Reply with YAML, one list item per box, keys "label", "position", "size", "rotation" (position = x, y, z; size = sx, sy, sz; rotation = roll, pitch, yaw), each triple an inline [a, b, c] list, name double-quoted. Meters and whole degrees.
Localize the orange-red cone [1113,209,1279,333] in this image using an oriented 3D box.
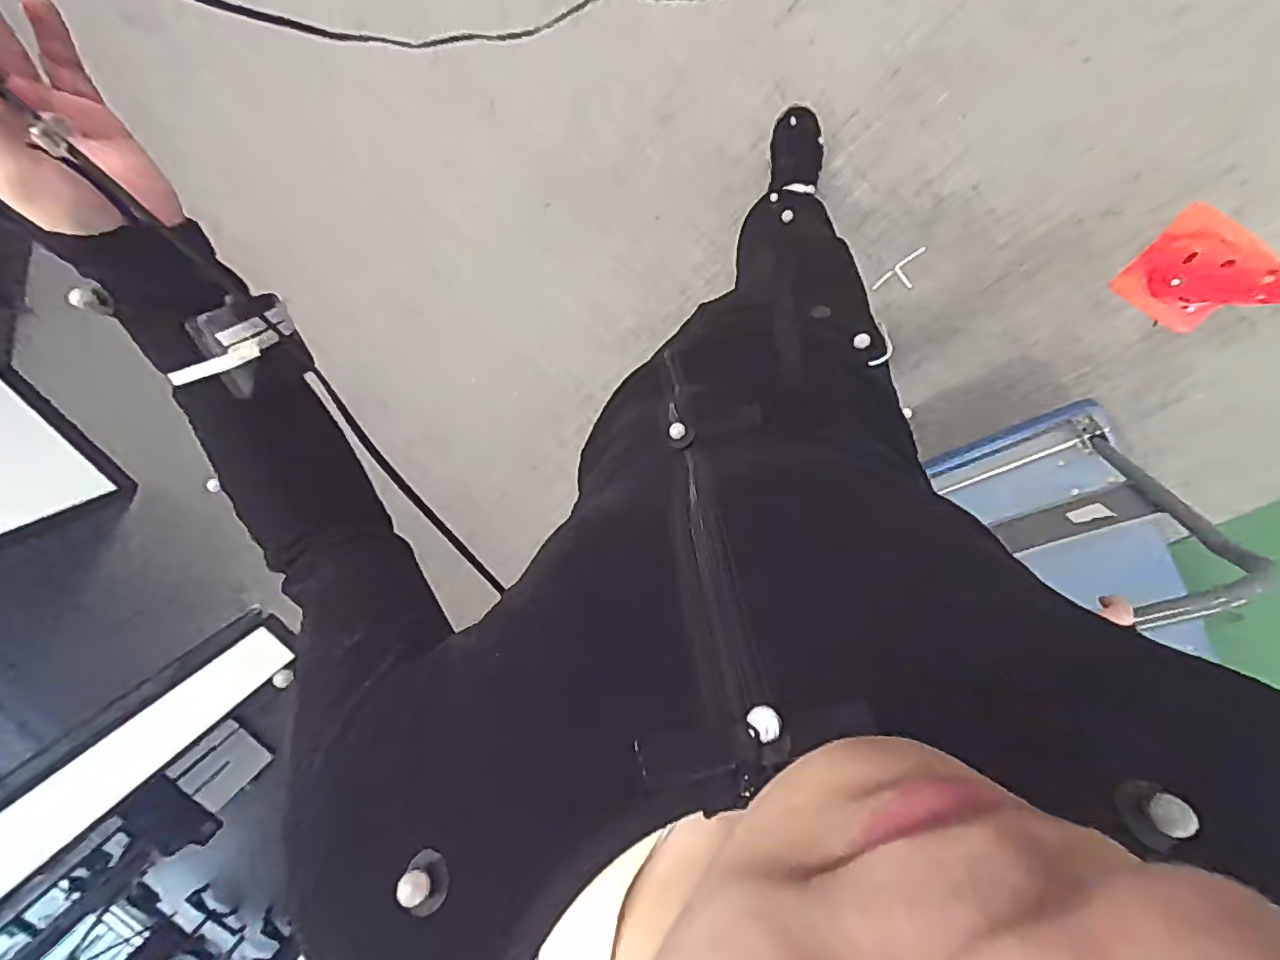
- label: "orange-red cone"
  position: [1.109, -0.368, 0.997]
  size: [0.198, 0.360, 0.199]
  rotation: [35, 120, 0]
